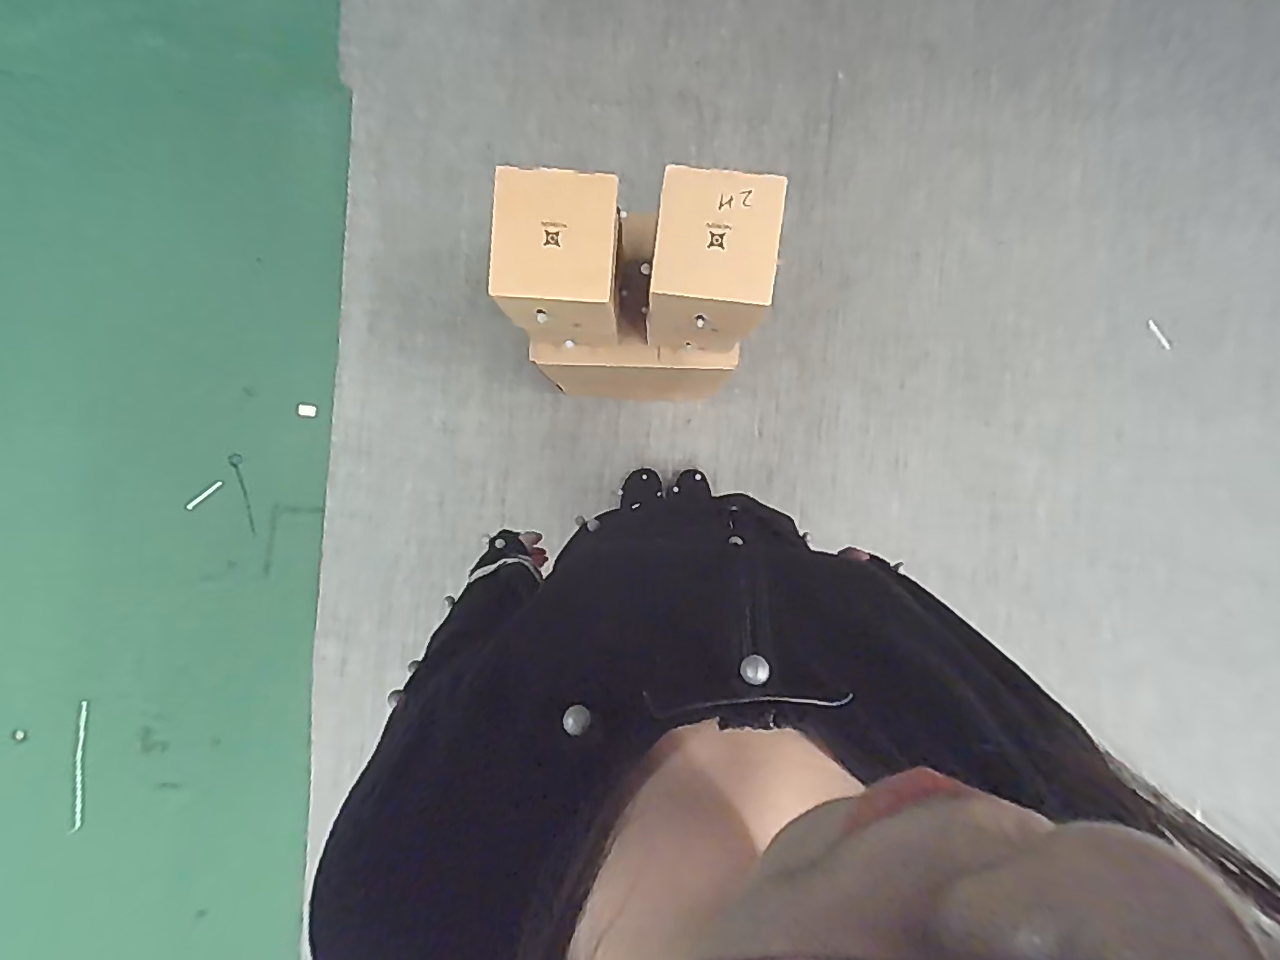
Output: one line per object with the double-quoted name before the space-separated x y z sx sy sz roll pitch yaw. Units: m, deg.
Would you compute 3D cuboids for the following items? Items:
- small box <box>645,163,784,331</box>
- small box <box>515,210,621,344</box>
"small box" 0.103 -0.333 0.808 0.168 0.176 0.179 8 92 1
"small box" -0.122 -0.357 0.976 0.168 0.176 0.179 4 93 -1
